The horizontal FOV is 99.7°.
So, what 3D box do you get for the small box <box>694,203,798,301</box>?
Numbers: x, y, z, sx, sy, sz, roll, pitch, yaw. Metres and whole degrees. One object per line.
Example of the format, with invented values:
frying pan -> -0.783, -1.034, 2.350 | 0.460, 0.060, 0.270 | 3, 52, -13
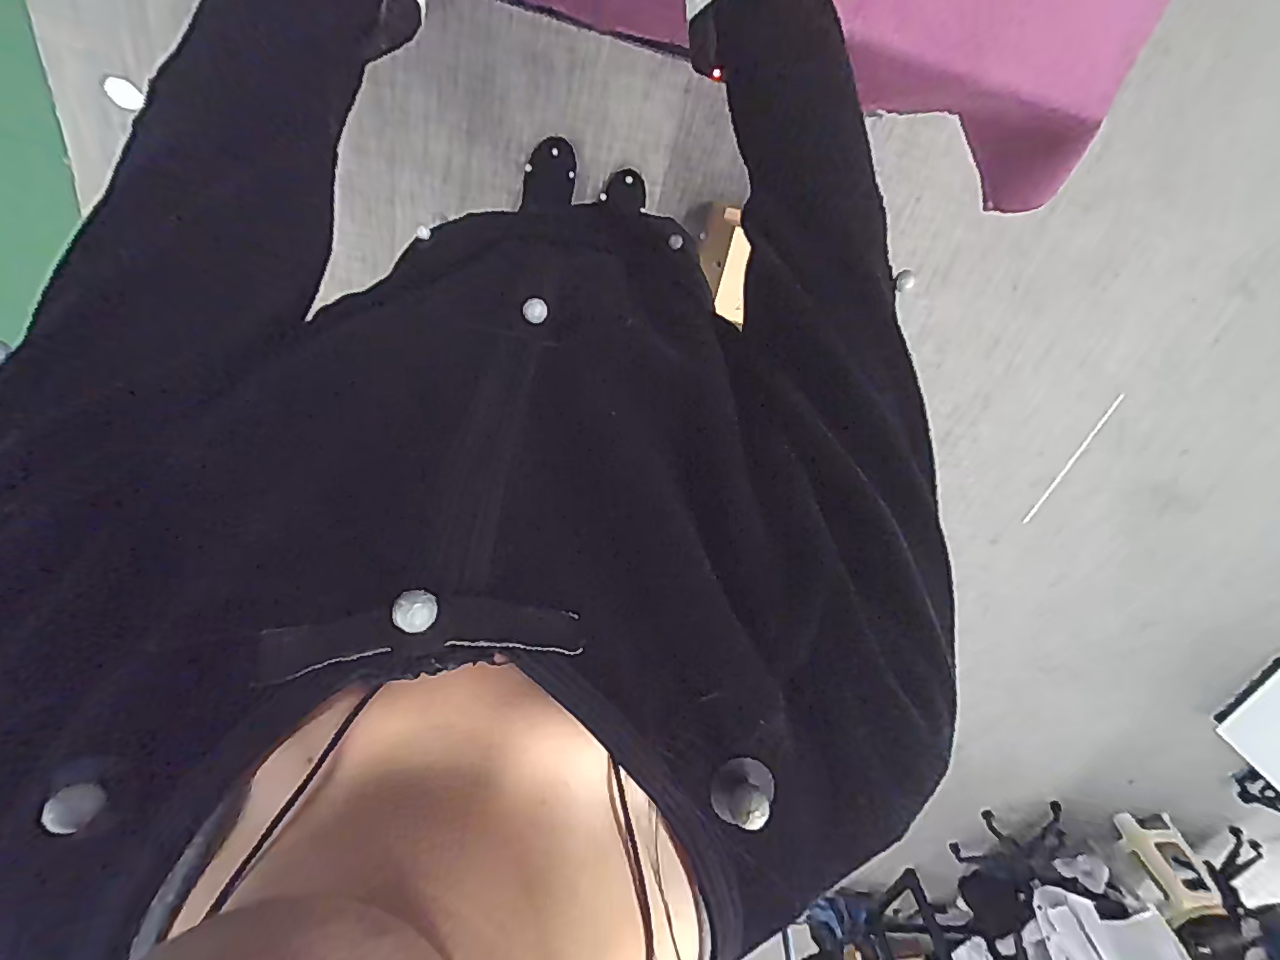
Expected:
small box -> 0.238, -0.538, 1.266 | 0.179, 0.176, 0.168 | 10, 121, -10
